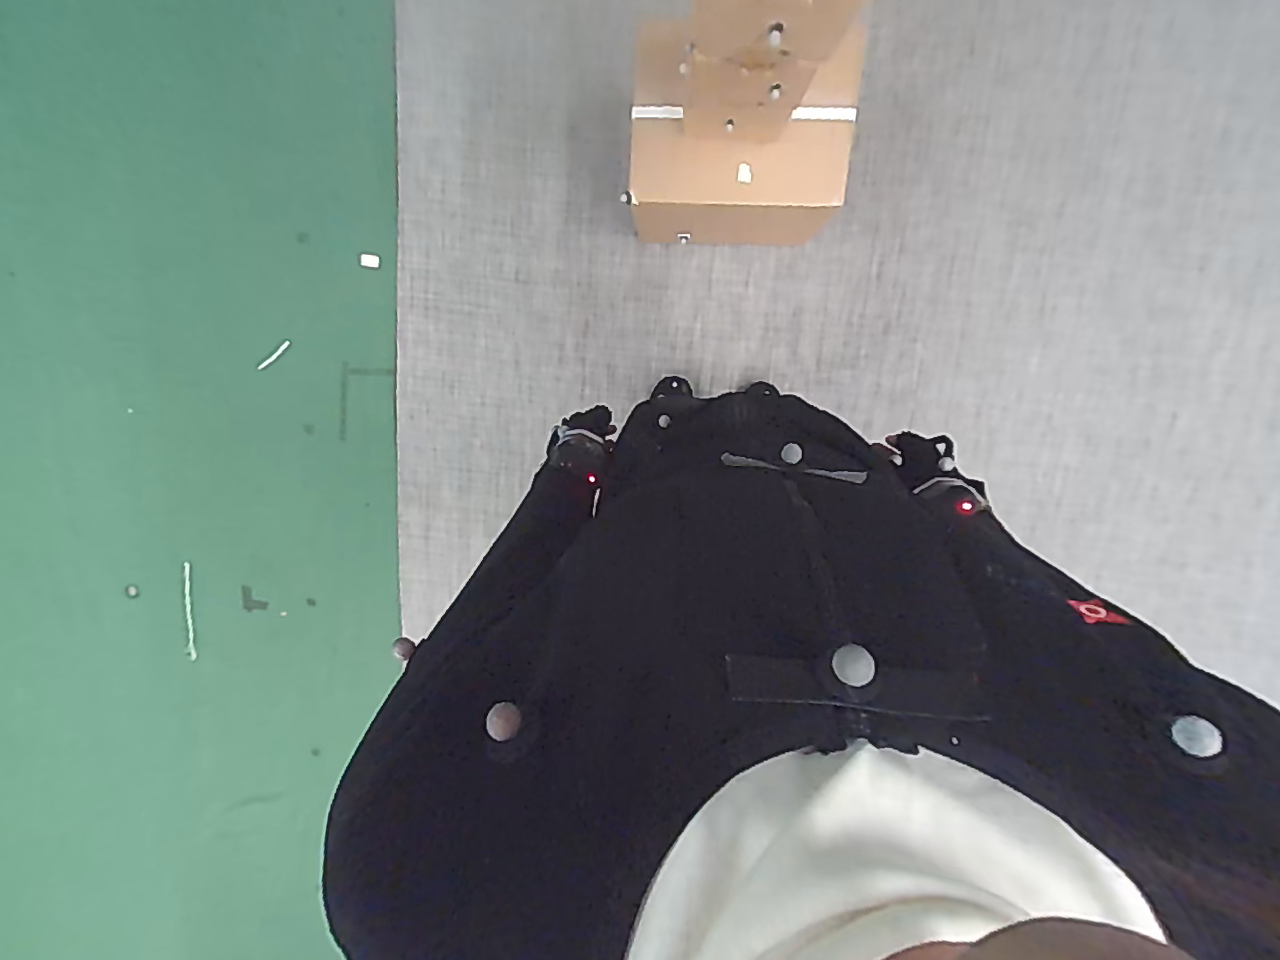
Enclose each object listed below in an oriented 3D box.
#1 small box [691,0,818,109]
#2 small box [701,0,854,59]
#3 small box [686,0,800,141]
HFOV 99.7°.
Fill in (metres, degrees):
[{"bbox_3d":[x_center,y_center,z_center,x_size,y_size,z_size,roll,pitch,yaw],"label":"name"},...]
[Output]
[{"bbox_3d":[0.159,-0.640,0.748,0.168,0.176,0.179,4,106,3],"label":"small box"},{"bbox_3d":[0.156,-0.595,0.591,0.168,0.176,0.179,5,108,3],"label":"small box"},{"bbox_3d":[0.171,-0.685,0.903,0.179,0.176,0.168,4,108,4],"label":"small box"}]
